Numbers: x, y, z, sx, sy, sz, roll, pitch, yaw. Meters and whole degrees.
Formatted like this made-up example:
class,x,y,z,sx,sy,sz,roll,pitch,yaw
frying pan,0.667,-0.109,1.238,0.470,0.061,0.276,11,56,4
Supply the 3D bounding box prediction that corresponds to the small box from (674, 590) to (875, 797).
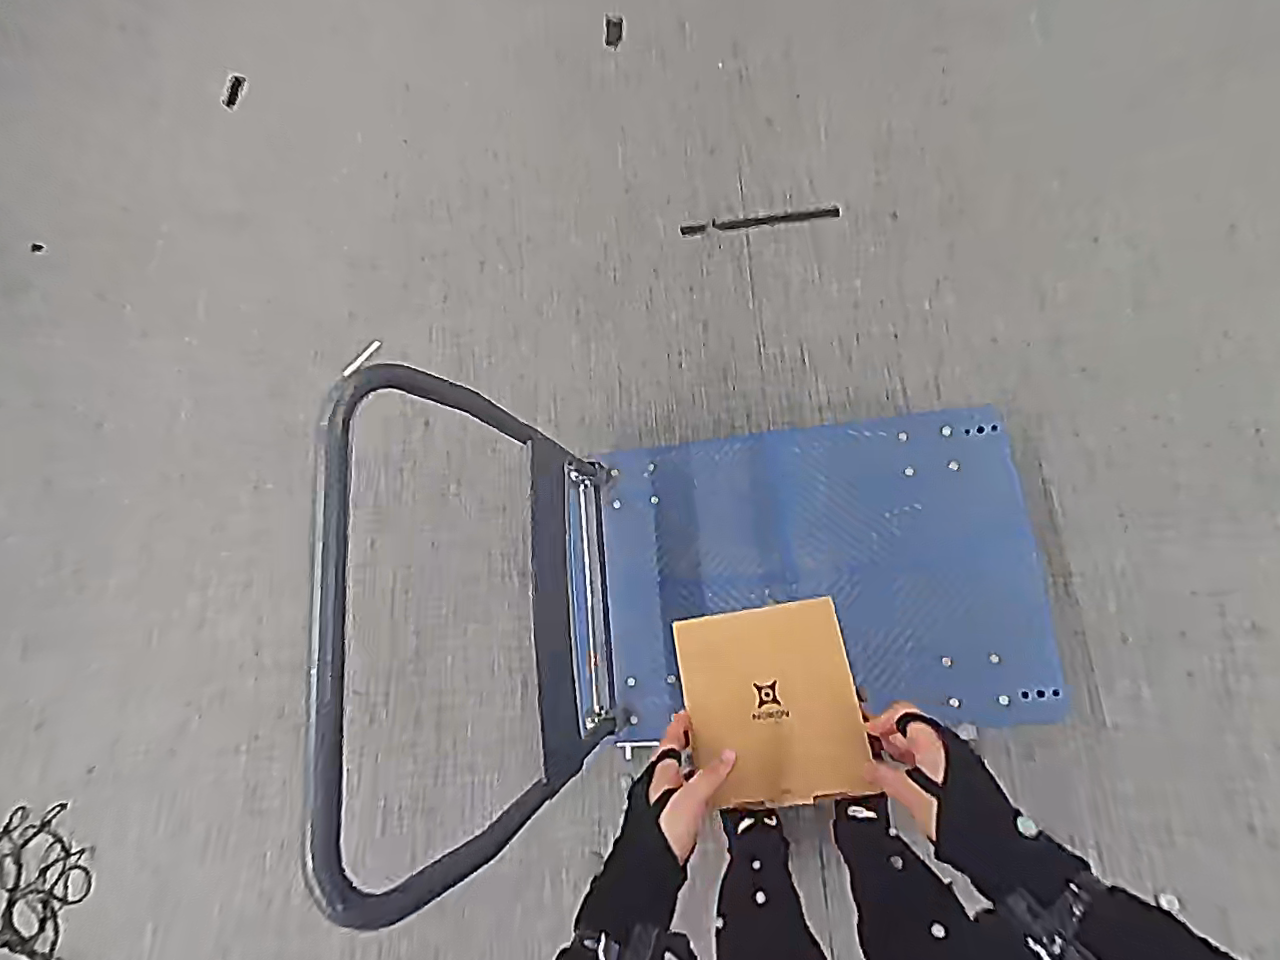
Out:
class,x,y,z,sx,sy,sz,roll,pitch,yaw
small box,0.141,0.231,0.602,0.168,0.176,0.179,-12,70,10
